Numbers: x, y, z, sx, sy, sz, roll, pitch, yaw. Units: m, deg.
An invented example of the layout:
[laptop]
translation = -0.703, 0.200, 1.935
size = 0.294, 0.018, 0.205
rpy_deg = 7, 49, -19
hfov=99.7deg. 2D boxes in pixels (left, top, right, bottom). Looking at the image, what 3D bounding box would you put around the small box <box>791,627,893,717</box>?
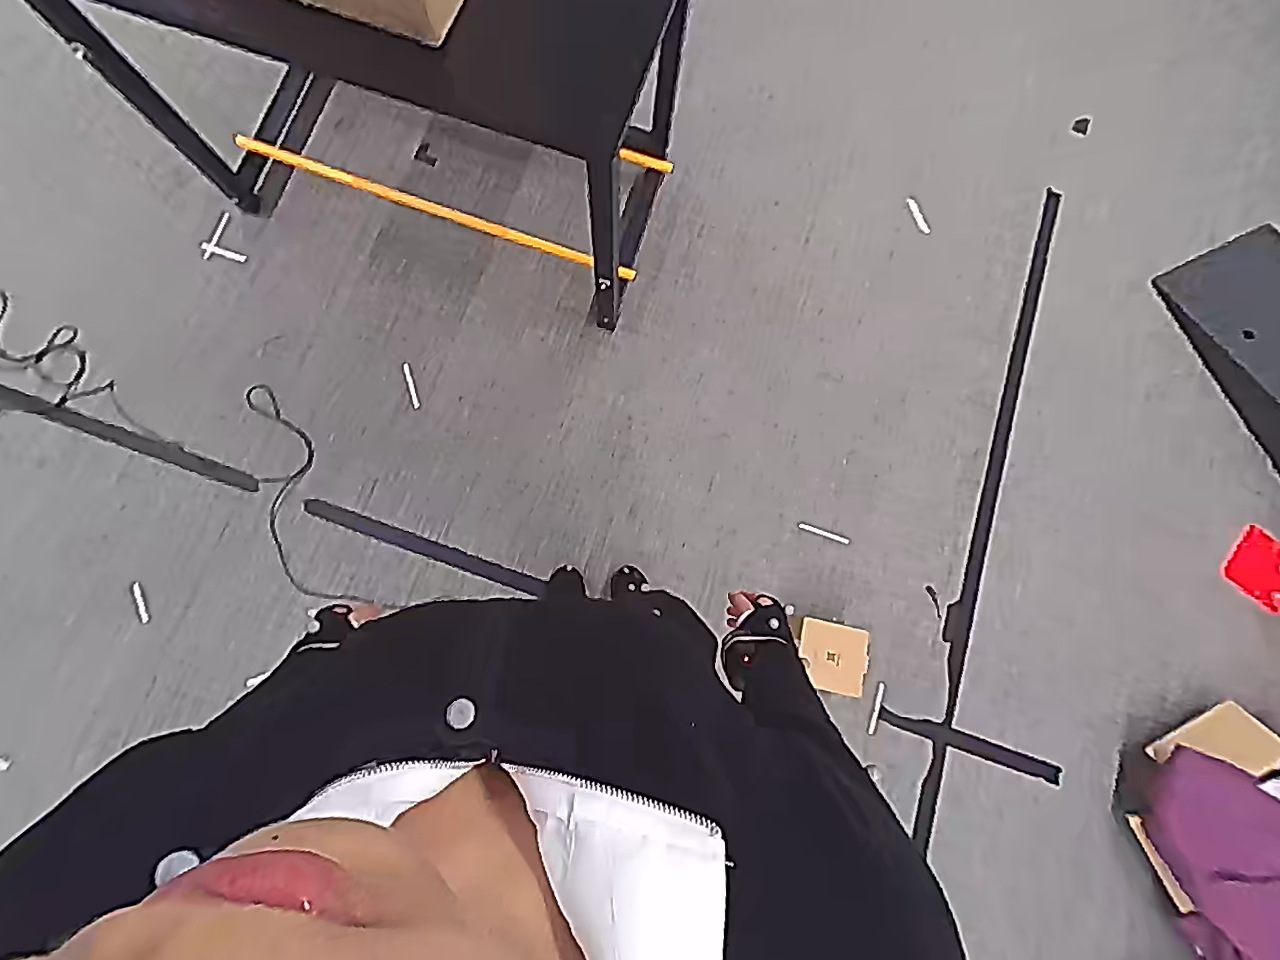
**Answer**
[small box]
translation = 0.498, 0.469, 1.348
size = 0.179, 0.176, 0.168
rpy_deg = 12, 80, 0
